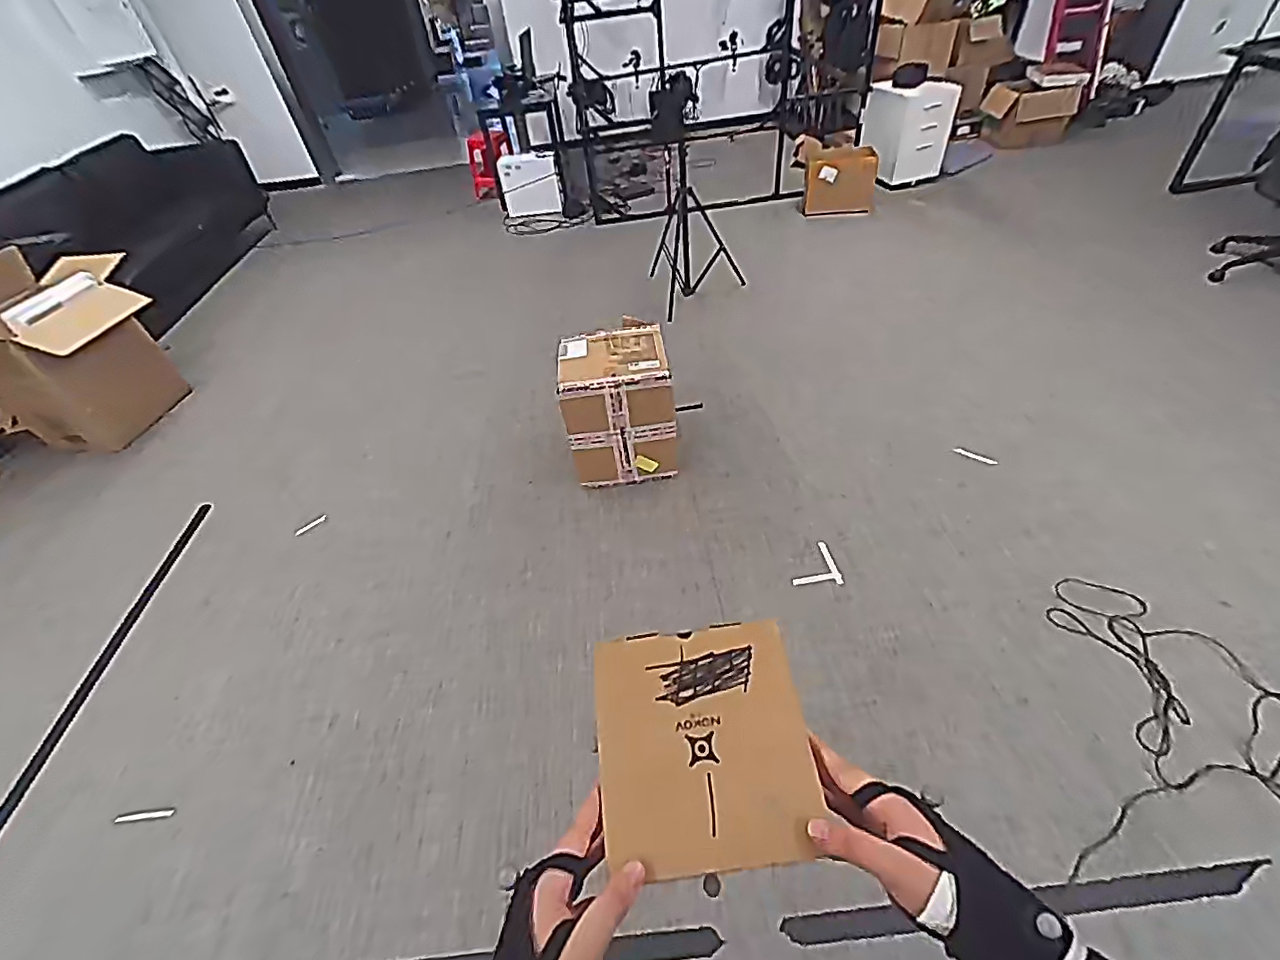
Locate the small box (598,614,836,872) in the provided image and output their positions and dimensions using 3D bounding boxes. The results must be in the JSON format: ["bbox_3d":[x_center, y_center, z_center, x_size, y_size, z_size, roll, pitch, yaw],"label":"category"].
[{"bbox_3d":[0.056,0.246,0.498,0.168,0.176,0.179,-8,55,0],"label":"small box"}]
